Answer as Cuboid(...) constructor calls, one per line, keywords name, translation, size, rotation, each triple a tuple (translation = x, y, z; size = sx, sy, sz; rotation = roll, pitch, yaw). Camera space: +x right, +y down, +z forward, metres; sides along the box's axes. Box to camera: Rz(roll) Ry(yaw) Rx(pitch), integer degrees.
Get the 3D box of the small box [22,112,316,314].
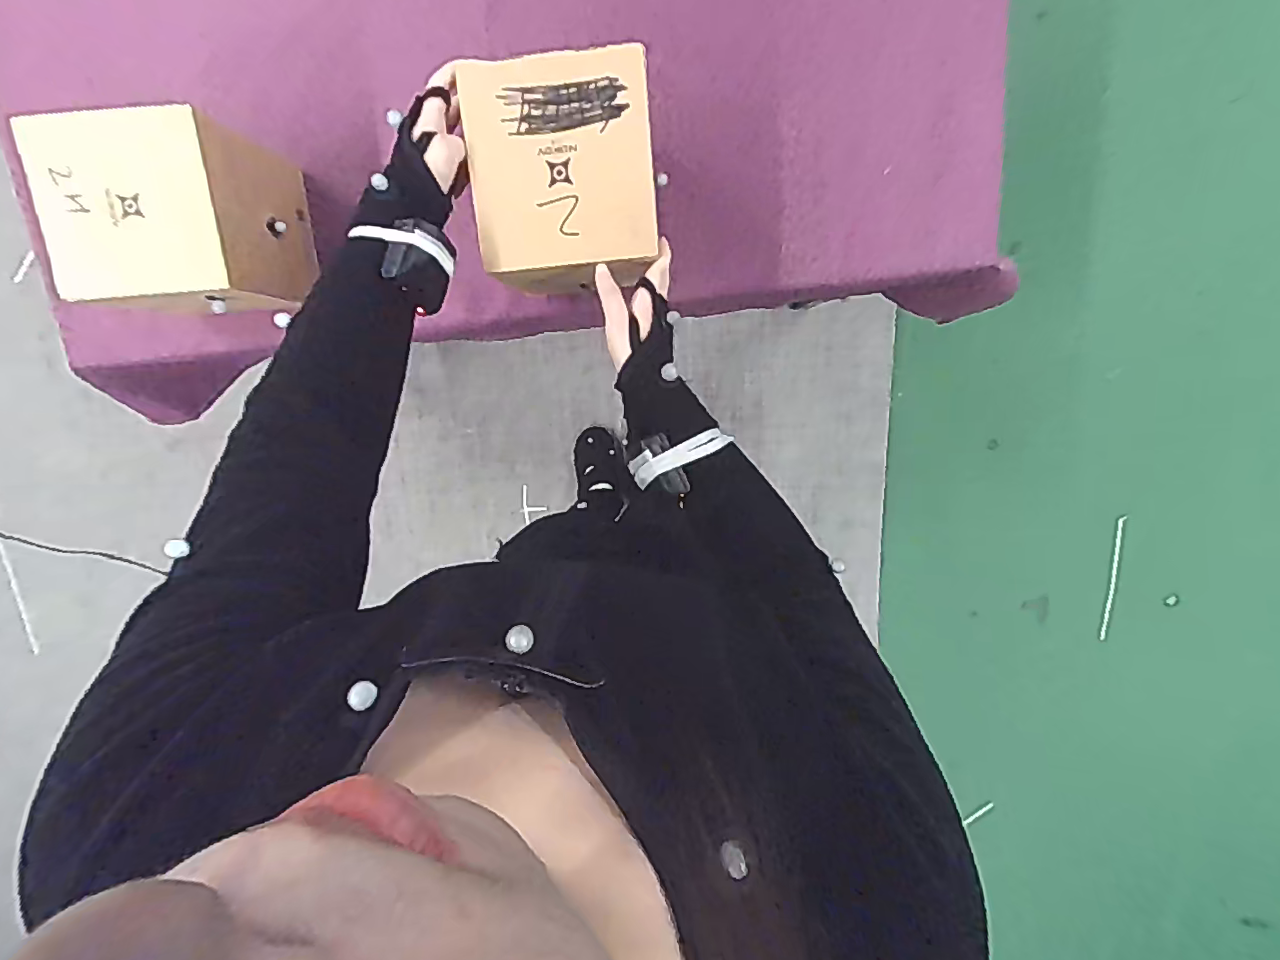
Cuboid(name="small box", translation=(-0.495, -0.281, 0.606), size=(0.179, 0.176, 0.168), rotation=(-3, 102, 2))
